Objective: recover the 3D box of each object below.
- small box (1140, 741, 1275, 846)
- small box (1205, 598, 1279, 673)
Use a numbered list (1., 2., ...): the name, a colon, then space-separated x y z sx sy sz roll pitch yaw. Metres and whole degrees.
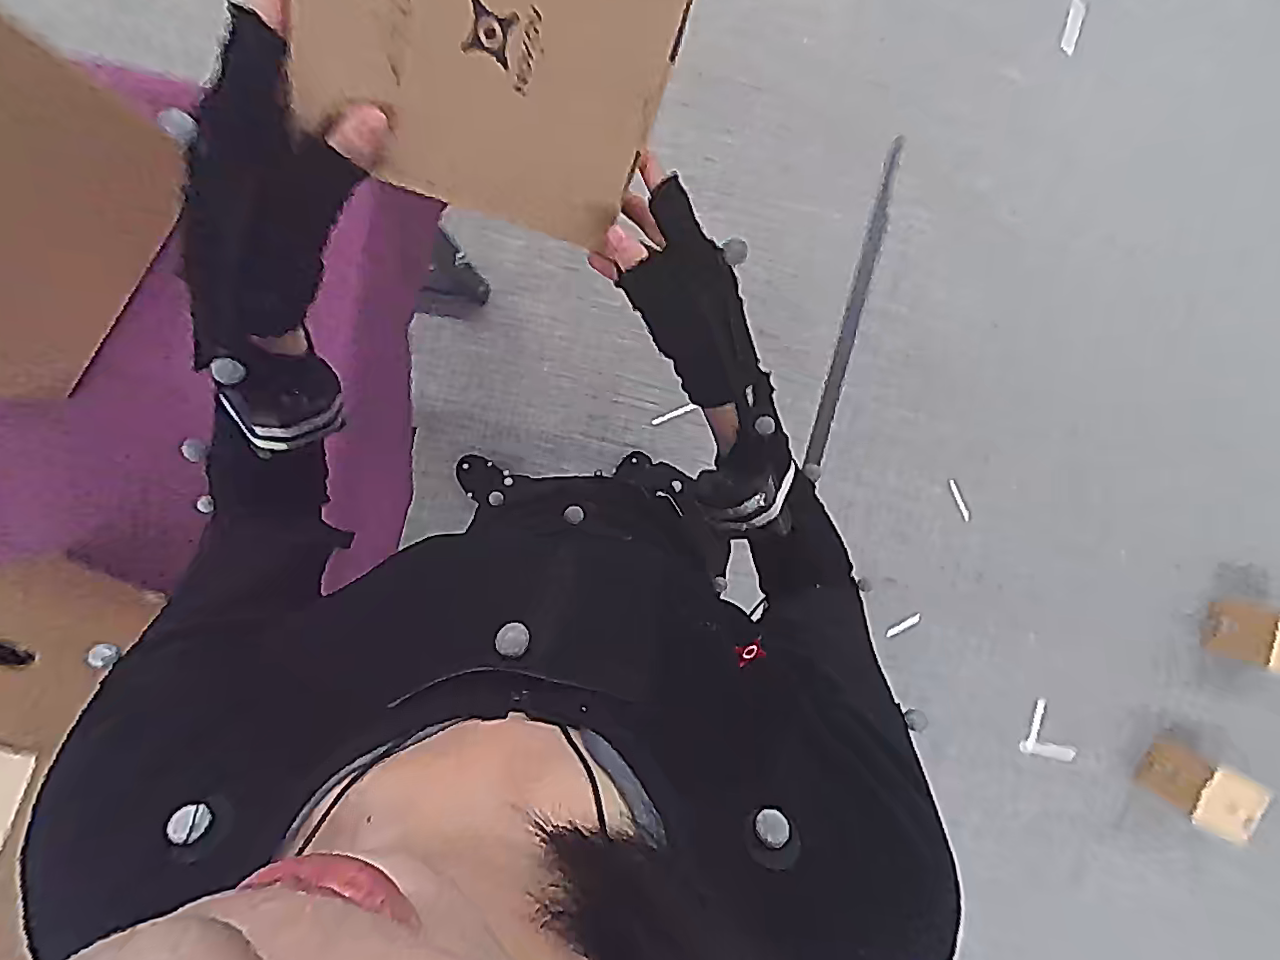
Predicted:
1. small box: 1.592 0.874 1.530 0.179 0.176 0.168 28 92 -2
2. small box: 1.772 0.442 1.519 0.179 0.176 0.168 12 92 -1
